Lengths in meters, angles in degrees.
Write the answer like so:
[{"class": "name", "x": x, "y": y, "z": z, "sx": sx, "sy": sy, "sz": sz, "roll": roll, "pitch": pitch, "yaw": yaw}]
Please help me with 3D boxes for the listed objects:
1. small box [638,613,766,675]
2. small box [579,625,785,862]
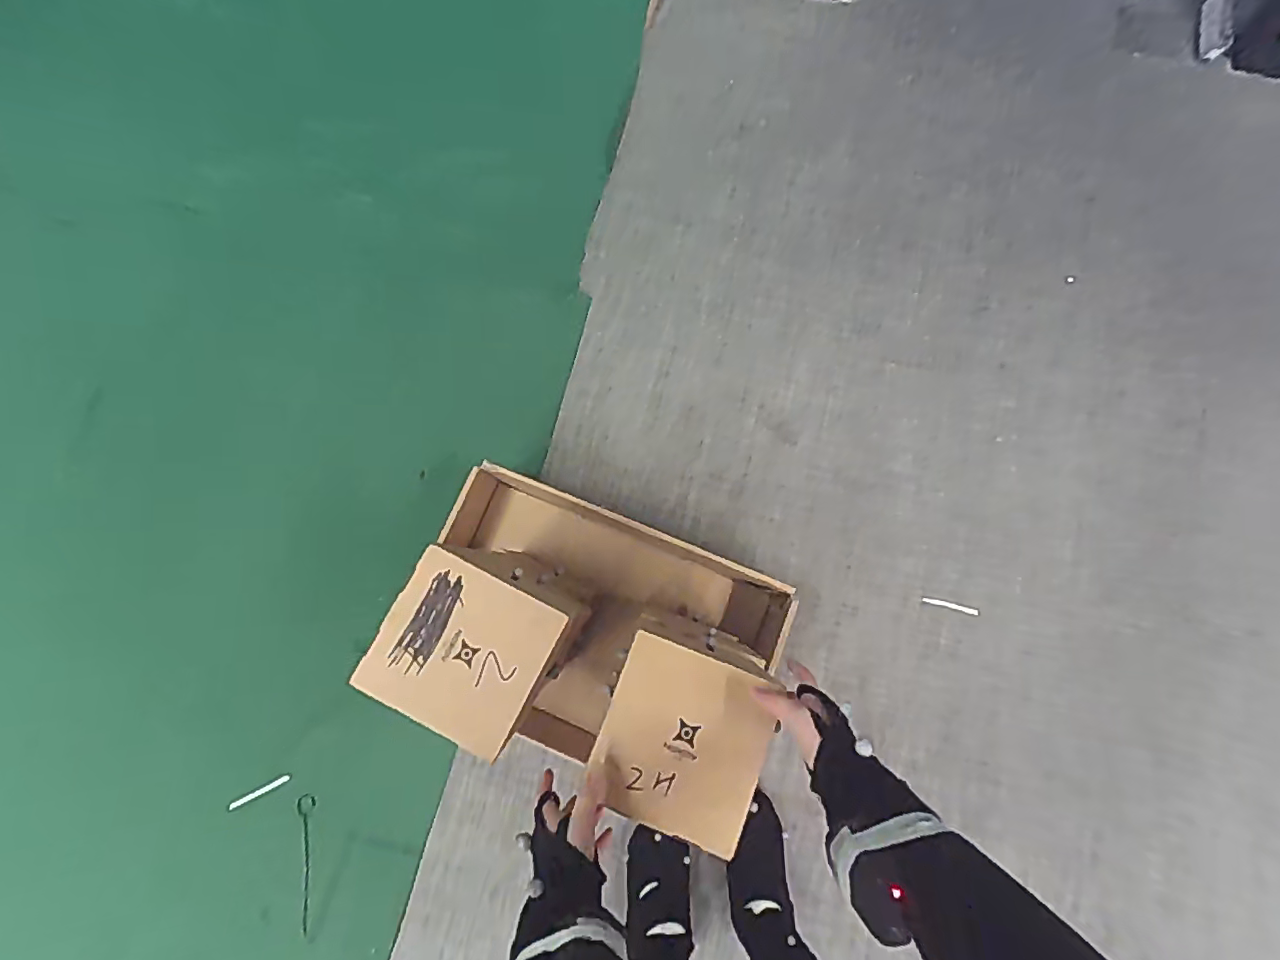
[{"class": "small box", "x": 0.062, "y": 0.300, "z": 0.788, "sx": 0.179, "sy": 0.176, "sz": 0.168, "roll": 20, "pitch": 81, "yaw": 6}, {"class": "small box", "x": 0.045, "y": 0.279, "z": 0.624, "sx": 0.168, "sy": 0.176, "sz": 0.179, "roll": 21, "pitch": 81, "yaw": 6}]
